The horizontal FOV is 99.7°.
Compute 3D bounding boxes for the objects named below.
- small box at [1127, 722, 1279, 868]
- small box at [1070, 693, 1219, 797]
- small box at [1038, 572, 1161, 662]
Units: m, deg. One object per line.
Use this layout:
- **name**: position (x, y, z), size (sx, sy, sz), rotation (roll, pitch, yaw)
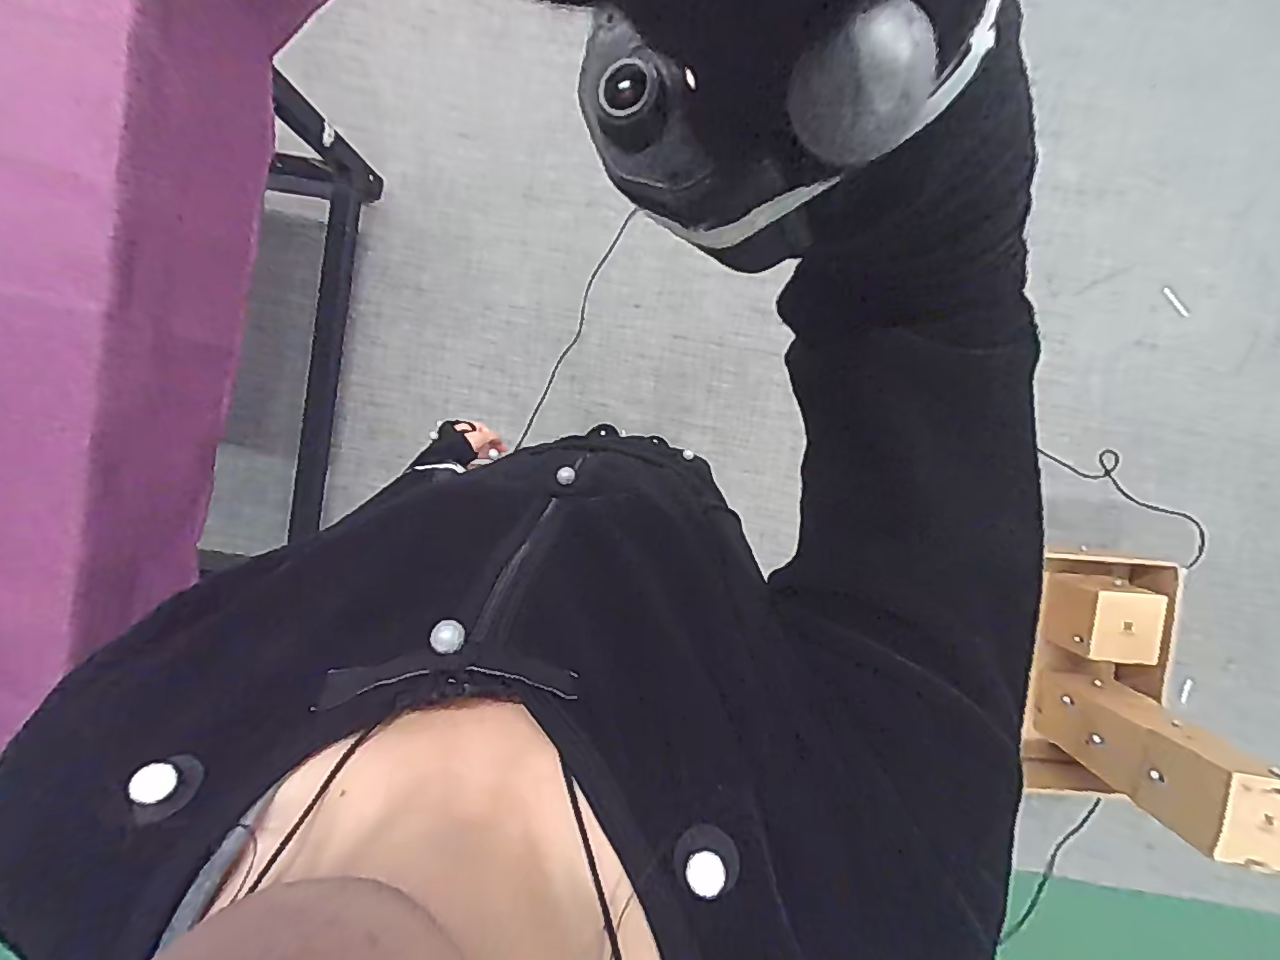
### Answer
- **small box**: position (1.143, 0.624, 1.089), size (0.168, 0.176, 0.179), rotation (10, 94, 0)
- **small box**: position (1.158, 0.615, 1.254), size (0.179, 0.176, 0.168), rotation (6, 94, 0)
- **small box**: position (1.175, 0.345, 1.396), size (0.168, 0.176, 0.179), rotation (5, 96, 1)
